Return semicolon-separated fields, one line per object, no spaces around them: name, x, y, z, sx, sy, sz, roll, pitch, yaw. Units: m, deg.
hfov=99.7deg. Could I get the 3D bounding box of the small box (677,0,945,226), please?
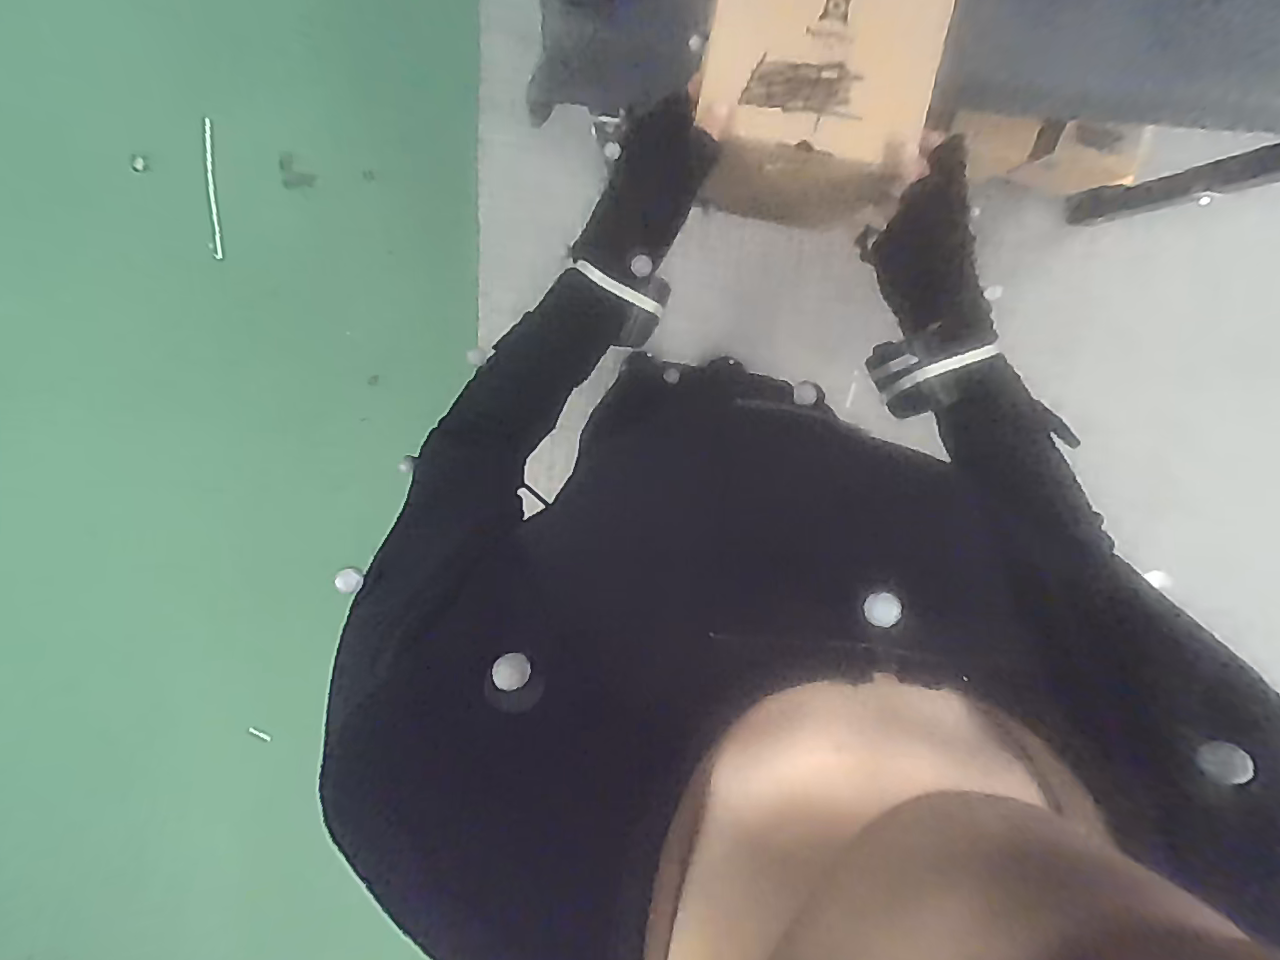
small box;0.128;-0.337;0.456;0.168;0.176;0.179;11;99;-2
